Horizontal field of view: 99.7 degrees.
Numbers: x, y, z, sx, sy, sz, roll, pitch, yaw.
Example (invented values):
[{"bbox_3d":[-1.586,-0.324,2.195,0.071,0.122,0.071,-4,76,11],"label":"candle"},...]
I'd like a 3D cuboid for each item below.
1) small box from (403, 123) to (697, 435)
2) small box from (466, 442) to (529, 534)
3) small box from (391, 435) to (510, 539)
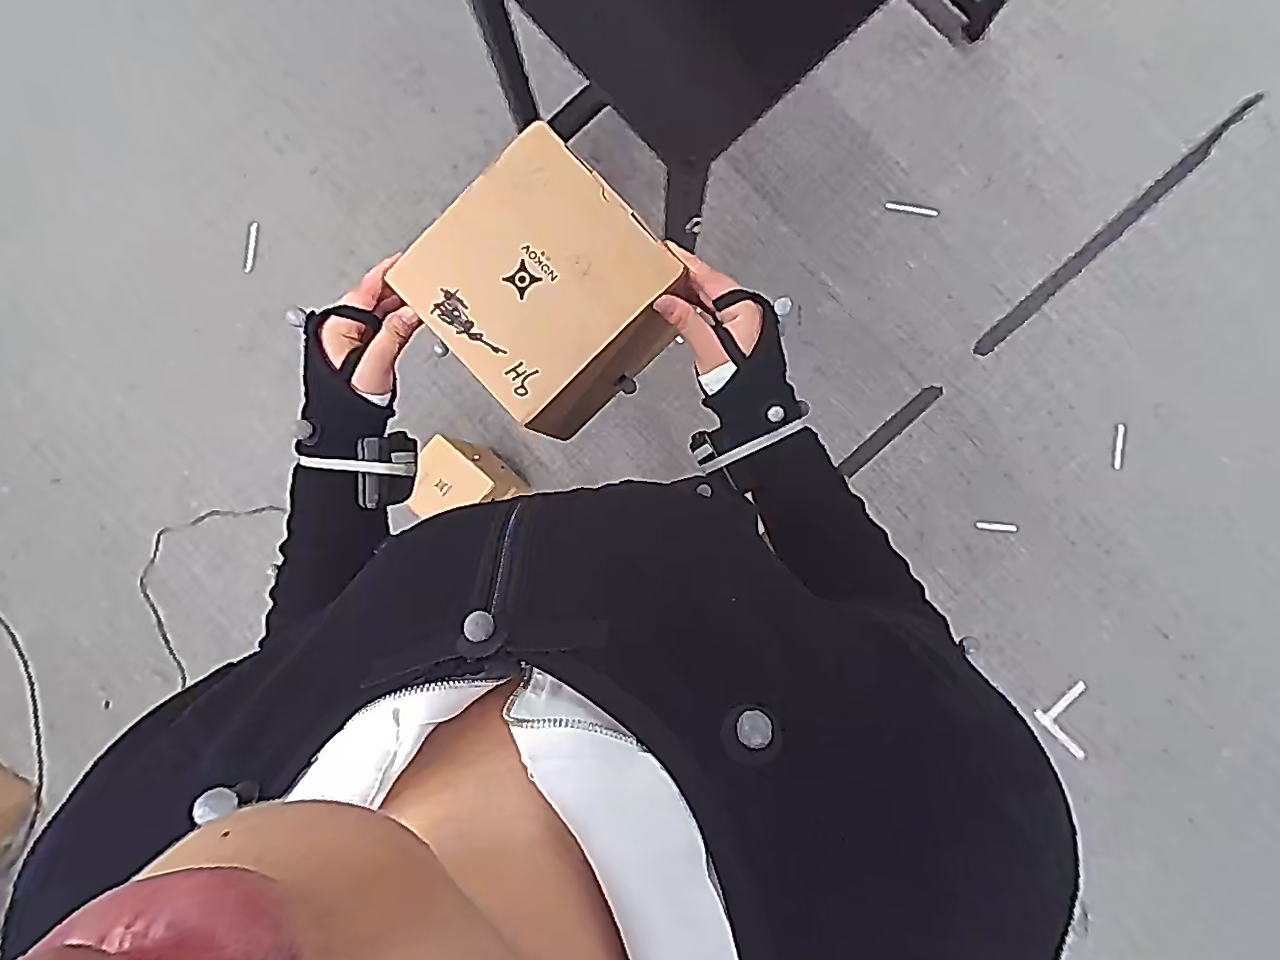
[{"bbox_3d":[-0.068,-0.162,0.499,0.179,0.176,0.168,-43,86,2],"label":"small box"},{"bbox_3d":[-0.425,0.023,1.435,0.179,0.176,0.168,43,90,1],"label":"small box"},{"bbox_3d":[-0.433,0.016,1.272,0.179,0.176,0.168,41,90,3],"label":"small box"}]
